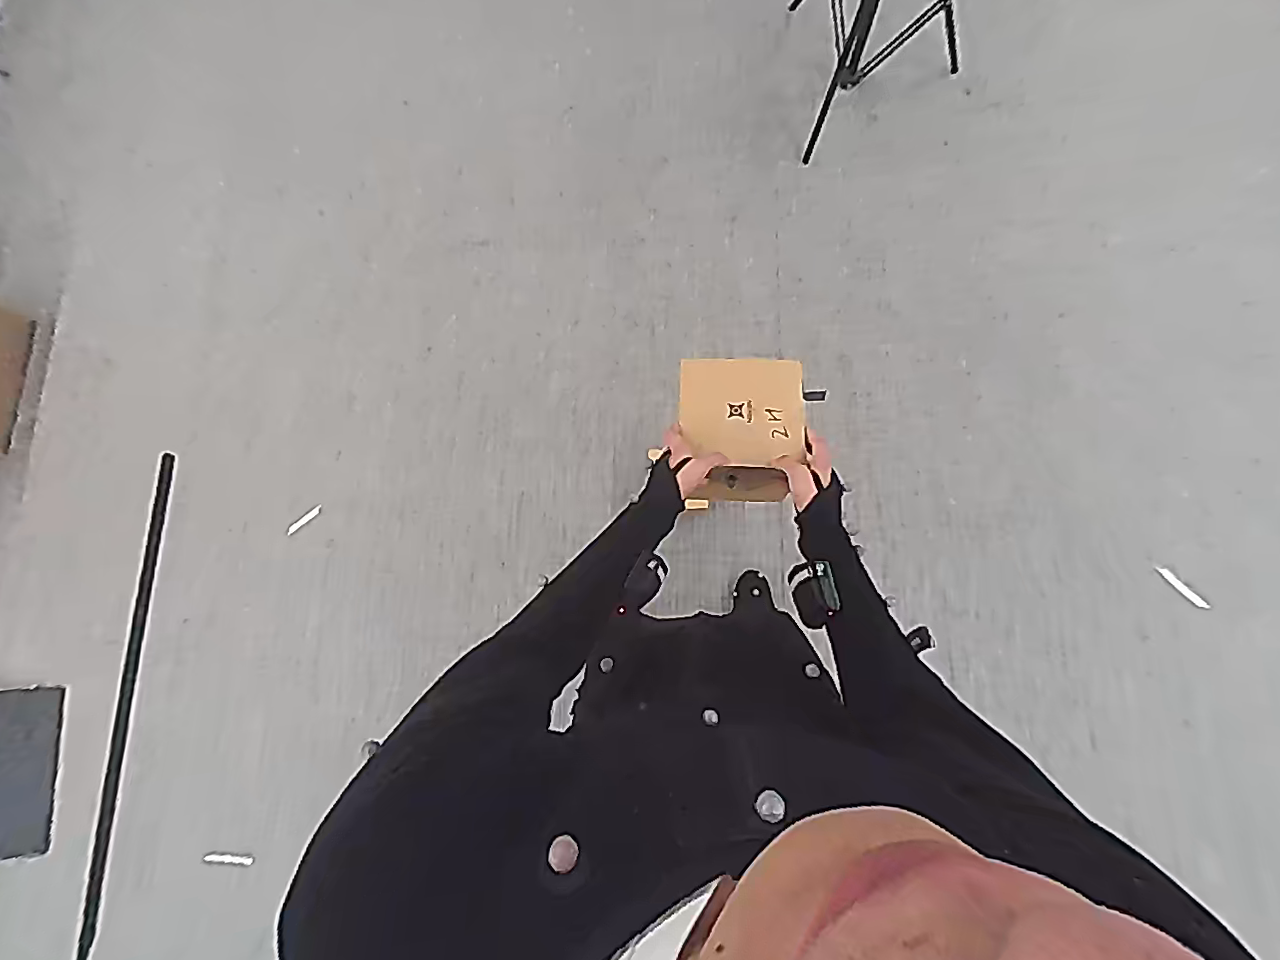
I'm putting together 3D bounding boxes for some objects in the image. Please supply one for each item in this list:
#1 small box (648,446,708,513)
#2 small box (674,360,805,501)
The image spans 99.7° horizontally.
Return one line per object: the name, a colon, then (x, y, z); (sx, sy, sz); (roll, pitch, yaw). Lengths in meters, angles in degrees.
small box: (0.112, 0.002, 1.586); (0.168, 0.176, 0.179); (-2, 81, 6)
small box: (0.141, -0.068, 0.825); (0.179, 0.176, 0.168); (1, 72, 3)
